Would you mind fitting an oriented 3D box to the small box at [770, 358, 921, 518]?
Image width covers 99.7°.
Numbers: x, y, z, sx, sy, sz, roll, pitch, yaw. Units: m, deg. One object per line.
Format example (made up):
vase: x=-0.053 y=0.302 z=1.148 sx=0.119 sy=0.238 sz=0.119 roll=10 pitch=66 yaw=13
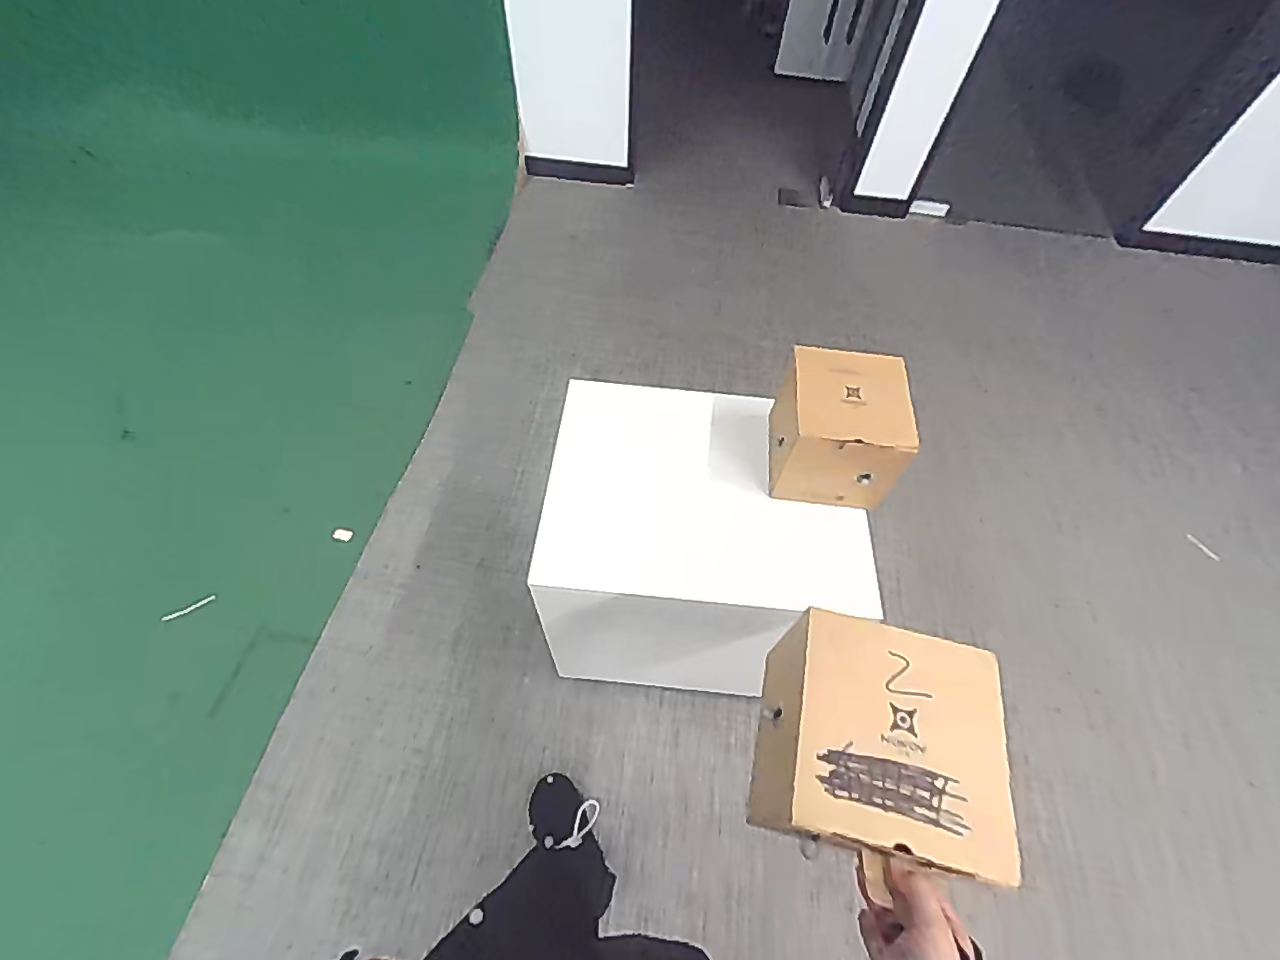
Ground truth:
small box: x=0.303 y=-0.059 z=0.834 sx=0.168 sy=0.176 sz=0.179 roll=7 pitch=56 yaw=2
